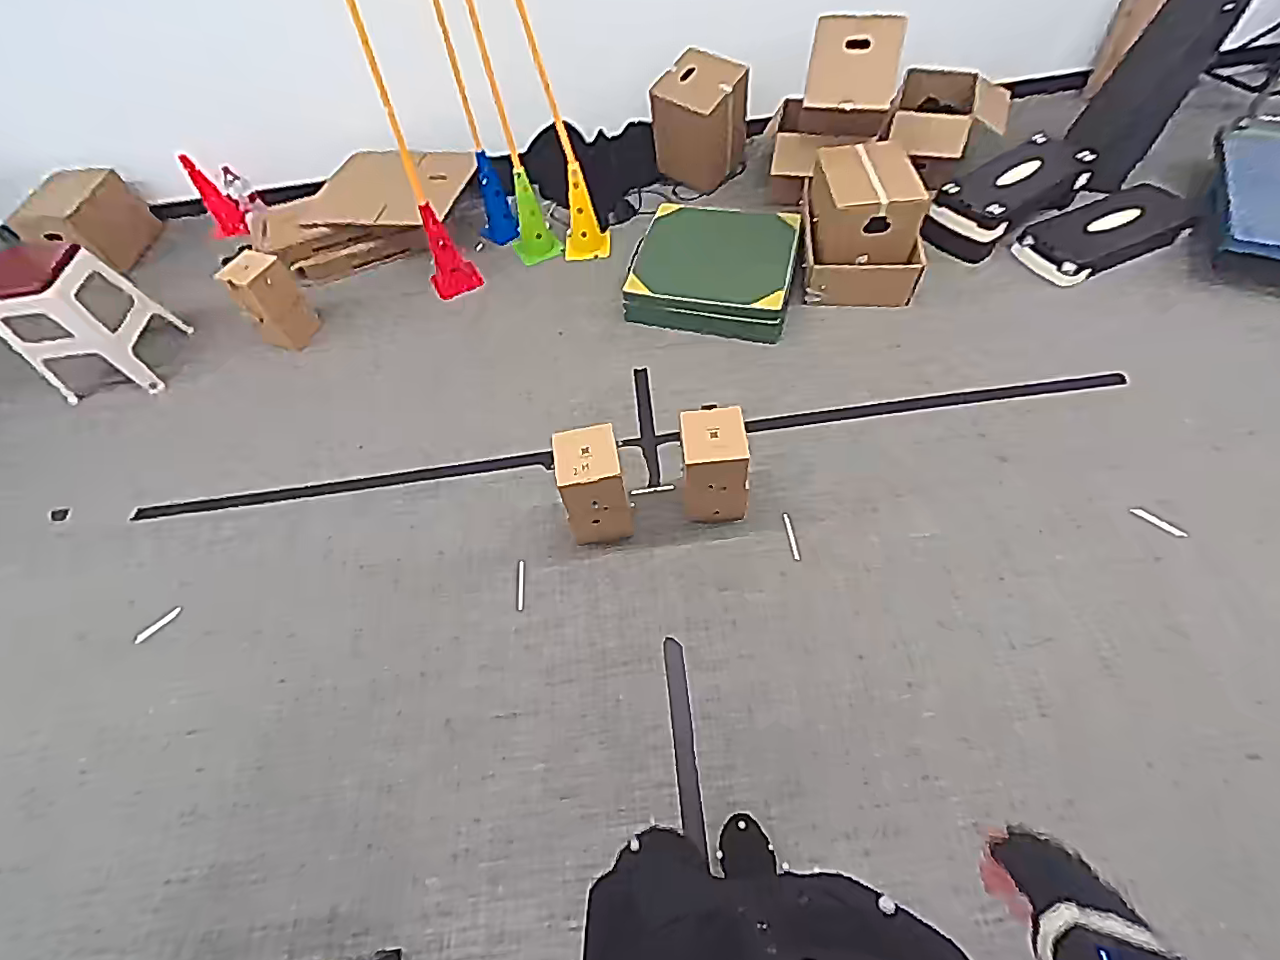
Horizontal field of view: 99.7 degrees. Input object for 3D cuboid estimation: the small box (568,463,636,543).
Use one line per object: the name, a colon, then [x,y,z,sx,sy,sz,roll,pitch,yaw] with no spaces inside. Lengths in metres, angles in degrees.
small box: [-0.115,0.075,1.609,0.179,0.176,0.168,-9,57,-1]

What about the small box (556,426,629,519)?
small box: [-0.129,-0.019,1.475,0.168,0.176,0.179,-11,57,-1]

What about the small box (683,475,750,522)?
small box: [0.224,0.013,1.618,0.179,0.176,0.168,-3,56,2]

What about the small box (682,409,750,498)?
small box: [0.202,-0.071,1.480,0.168,0.176,0.179,-5,58,4]
